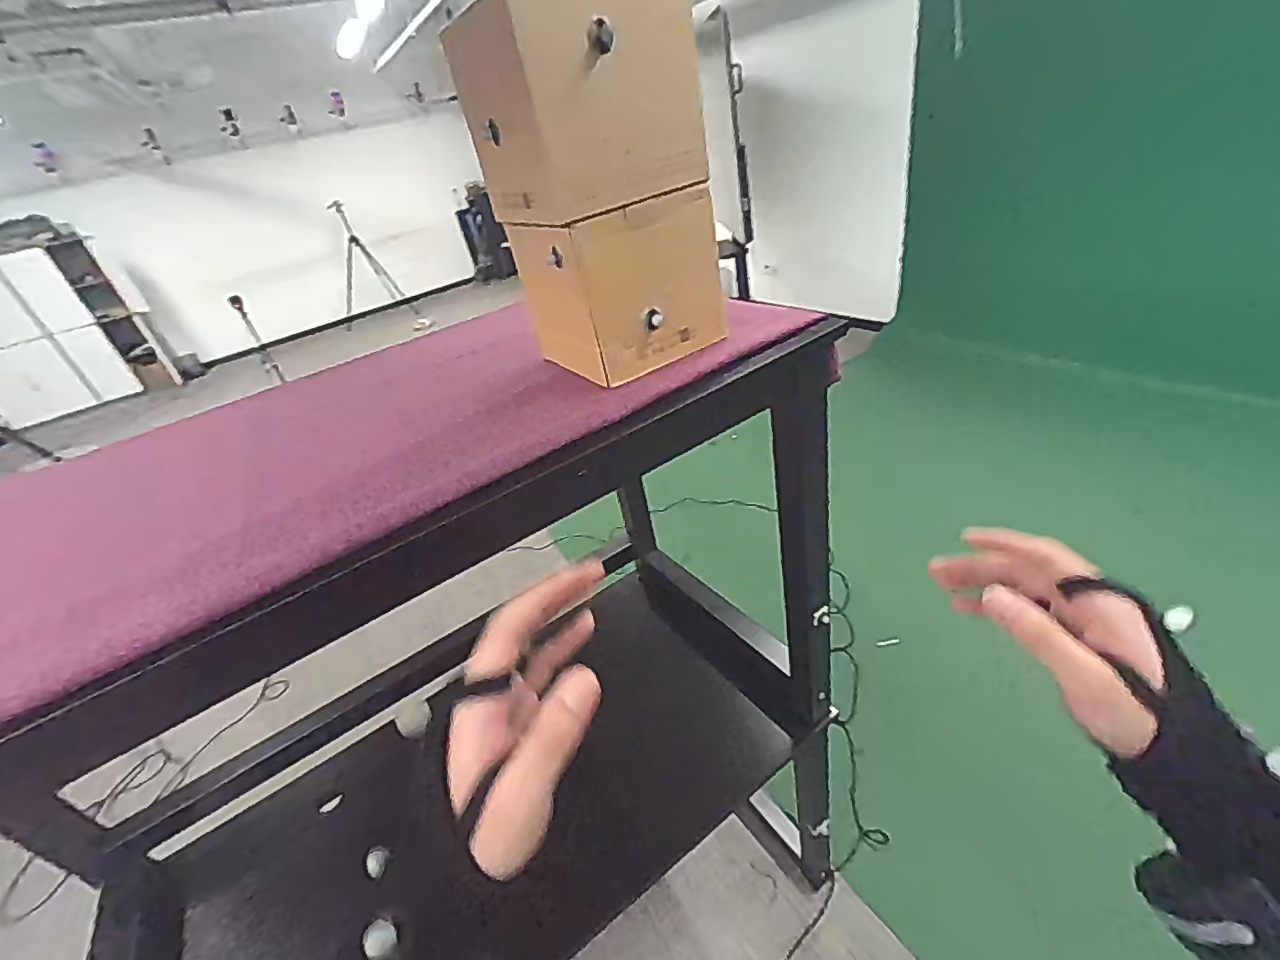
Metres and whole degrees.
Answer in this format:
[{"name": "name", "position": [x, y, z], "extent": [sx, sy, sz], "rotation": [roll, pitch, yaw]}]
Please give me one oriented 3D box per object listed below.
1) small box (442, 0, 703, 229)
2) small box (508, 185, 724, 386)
[{"name": "small box", "position": [-0.059, -0.353, 0.523], "extent": [0.179, 0.176, 0.168], "rotation": [-29, 36, -21]}, {"name": "small box", "position": [-0.025, -0.224, 0.620], "extent": [0.168, 0.176, 0.179], "rotation": [-28, 36, -21]}]
